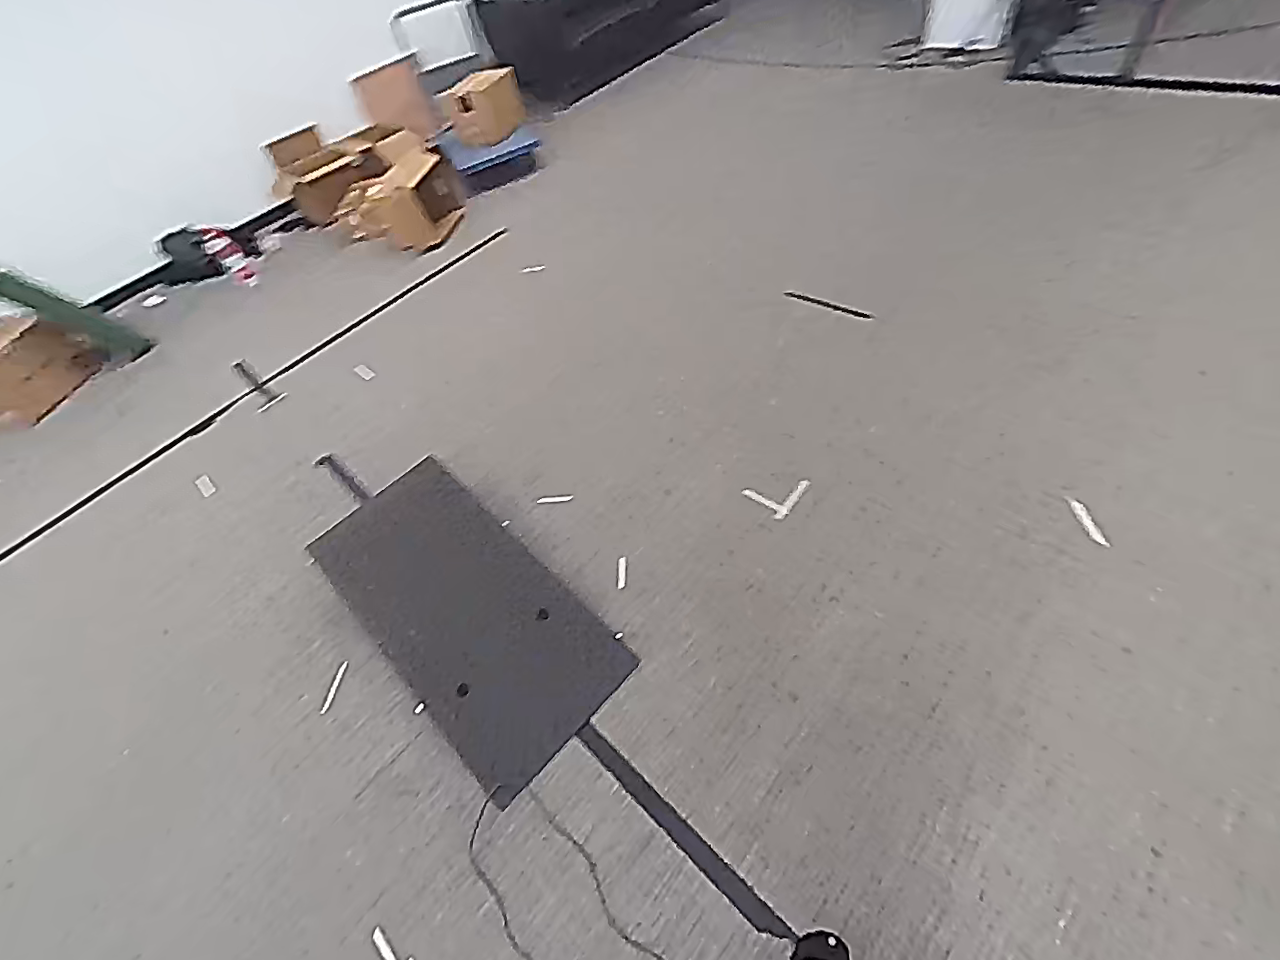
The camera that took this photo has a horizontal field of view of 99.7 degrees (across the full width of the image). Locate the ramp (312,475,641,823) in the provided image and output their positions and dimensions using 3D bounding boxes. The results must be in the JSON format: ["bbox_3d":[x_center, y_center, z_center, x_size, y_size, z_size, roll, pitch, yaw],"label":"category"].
[{"bbox_3d":[-0.510,0.411,1.596,0.991,0.206,0.509,31,63,32],"label":"ramp"}]
